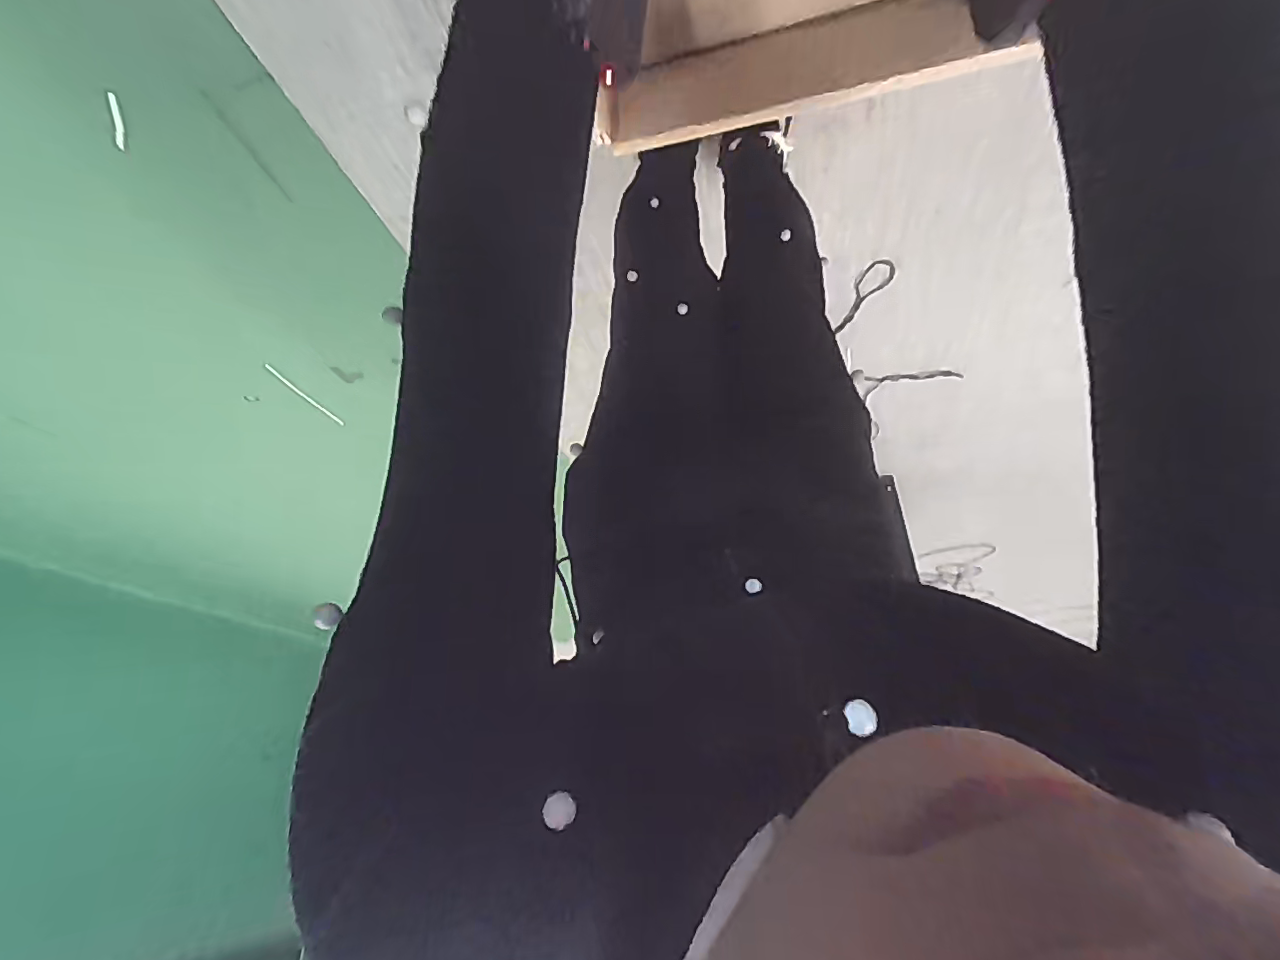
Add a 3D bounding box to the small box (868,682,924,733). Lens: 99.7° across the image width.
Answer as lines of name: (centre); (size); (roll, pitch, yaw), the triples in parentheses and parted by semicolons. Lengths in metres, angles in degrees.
small box: (1.000, 0.893, 2.122); (0.168, 0.176, 0.179); (-9, 150, 17)
